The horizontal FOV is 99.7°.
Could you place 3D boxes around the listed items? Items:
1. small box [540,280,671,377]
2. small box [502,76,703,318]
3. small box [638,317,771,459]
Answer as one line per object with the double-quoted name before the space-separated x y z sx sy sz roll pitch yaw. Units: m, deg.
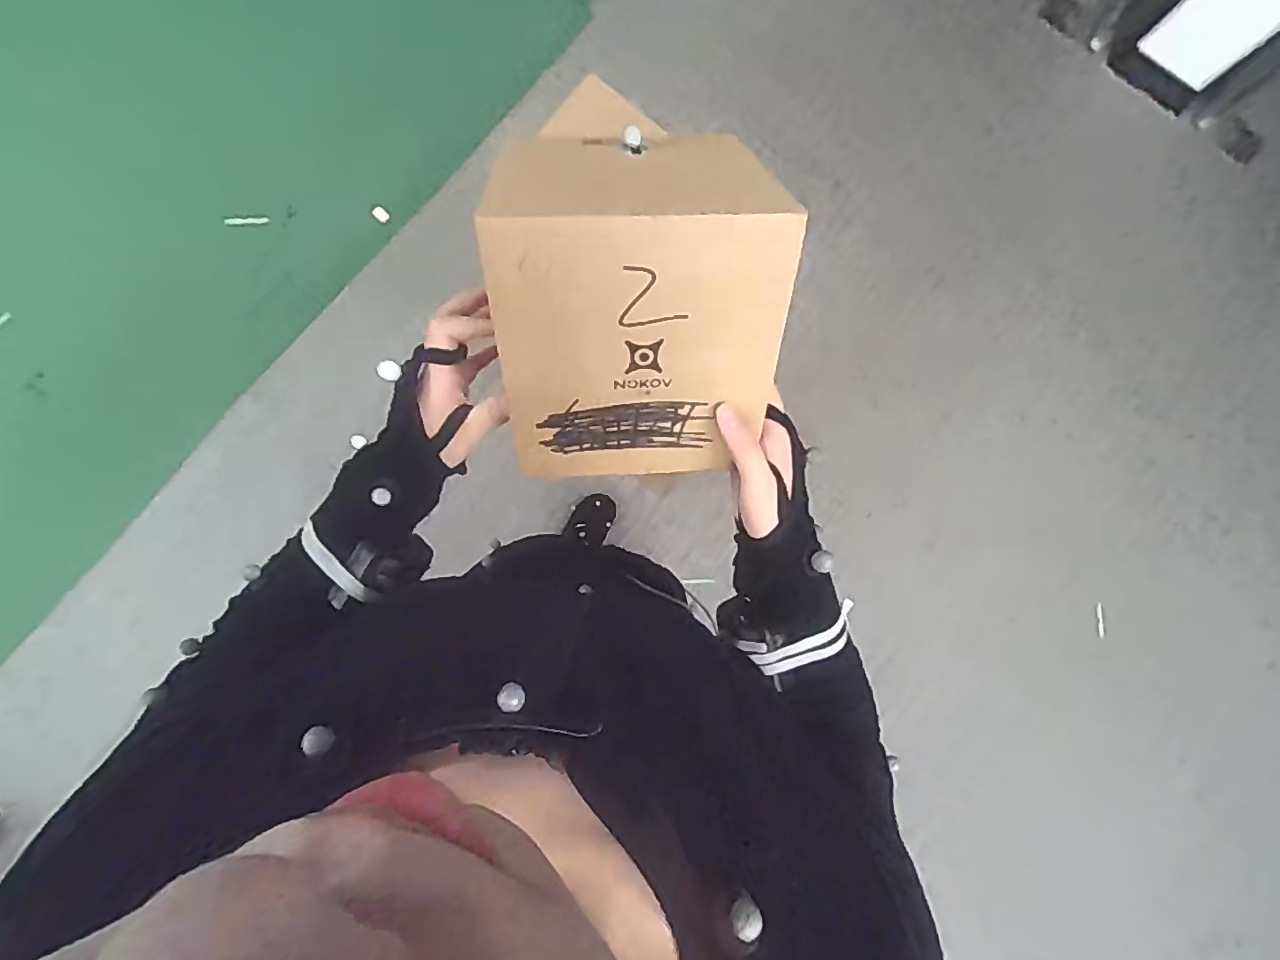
"small box" -0.063 -0.321 1.018 0.168 0.176 0.179 41 84 0
"small box" -0.045 -0.342 0.691 0.168 0.176 0.179 38 84 -1
"small box" 0.108 -0.161 1.008 0.179 0.176 0.168 -45 86 -6
